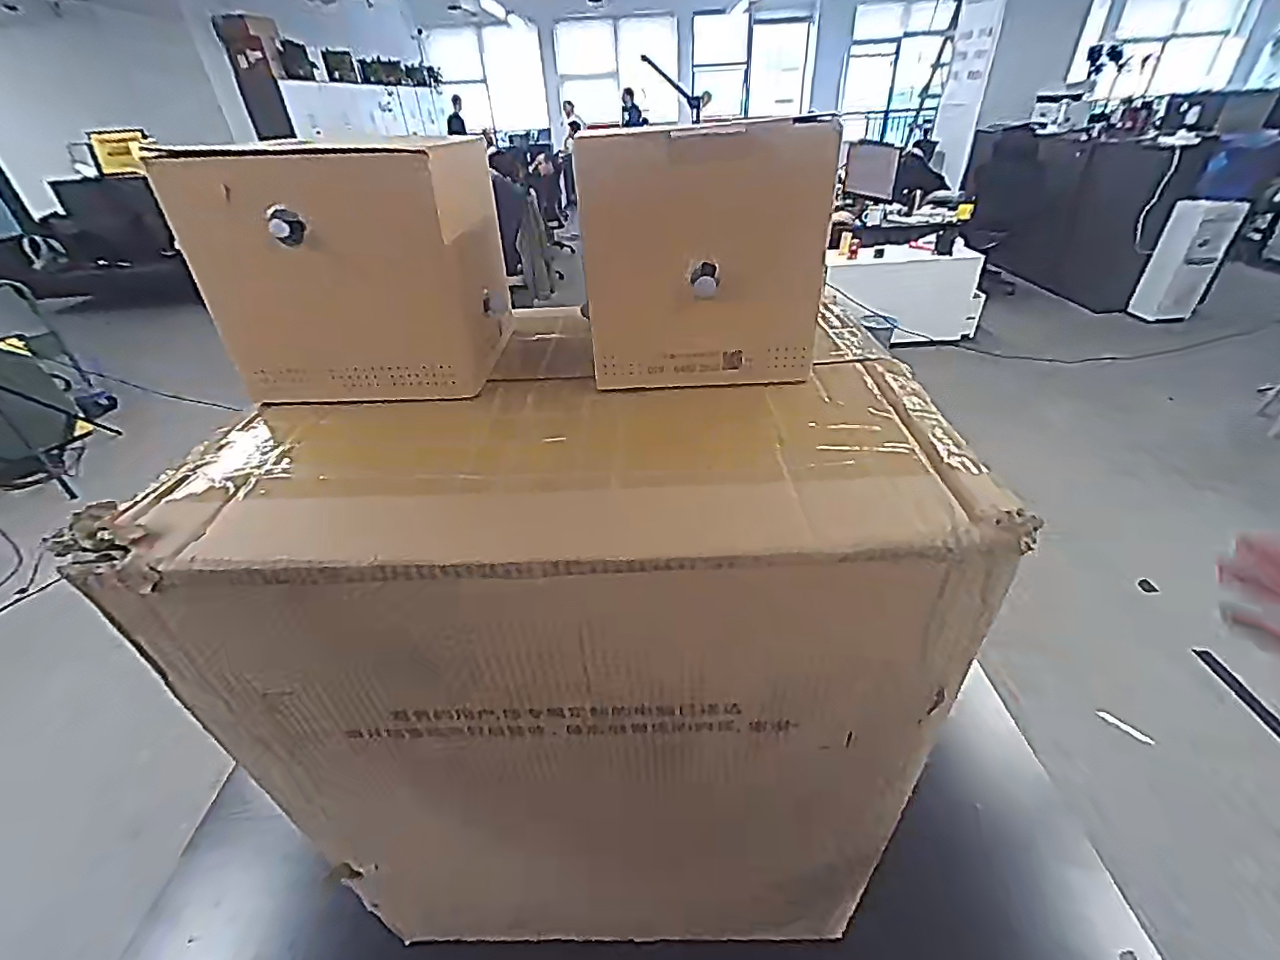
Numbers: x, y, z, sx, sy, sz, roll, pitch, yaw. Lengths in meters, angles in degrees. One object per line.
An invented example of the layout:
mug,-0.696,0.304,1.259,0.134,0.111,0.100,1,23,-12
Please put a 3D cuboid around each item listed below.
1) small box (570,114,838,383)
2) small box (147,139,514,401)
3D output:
small box,0.046,-0.184,0.436,0.168,0.176,0.179,-2,34,3
small box,-0.213,-0.171,0.435,0.179,0.176,0.168,-1,34,0
